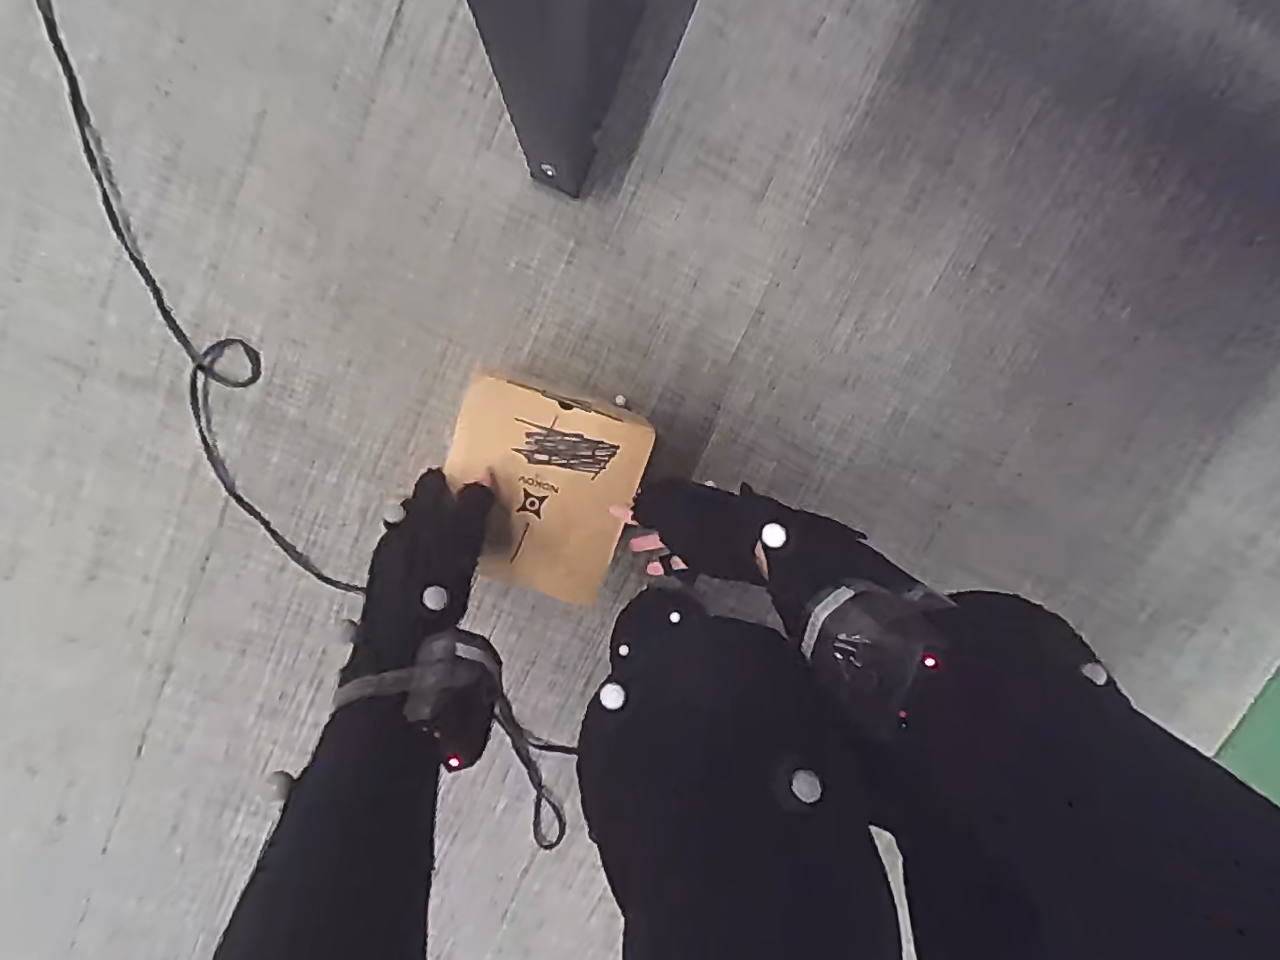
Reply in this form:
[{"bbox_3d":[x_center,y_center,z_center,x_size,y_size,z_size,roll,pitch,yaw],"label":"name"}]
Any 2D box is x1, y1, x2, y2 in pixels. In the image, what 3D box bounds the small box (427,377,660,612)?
[{"bbox_3d":[-0.092,0.002,0.554,0.168,0.176,0.179,18,100,-7],"label":"small box"}]
